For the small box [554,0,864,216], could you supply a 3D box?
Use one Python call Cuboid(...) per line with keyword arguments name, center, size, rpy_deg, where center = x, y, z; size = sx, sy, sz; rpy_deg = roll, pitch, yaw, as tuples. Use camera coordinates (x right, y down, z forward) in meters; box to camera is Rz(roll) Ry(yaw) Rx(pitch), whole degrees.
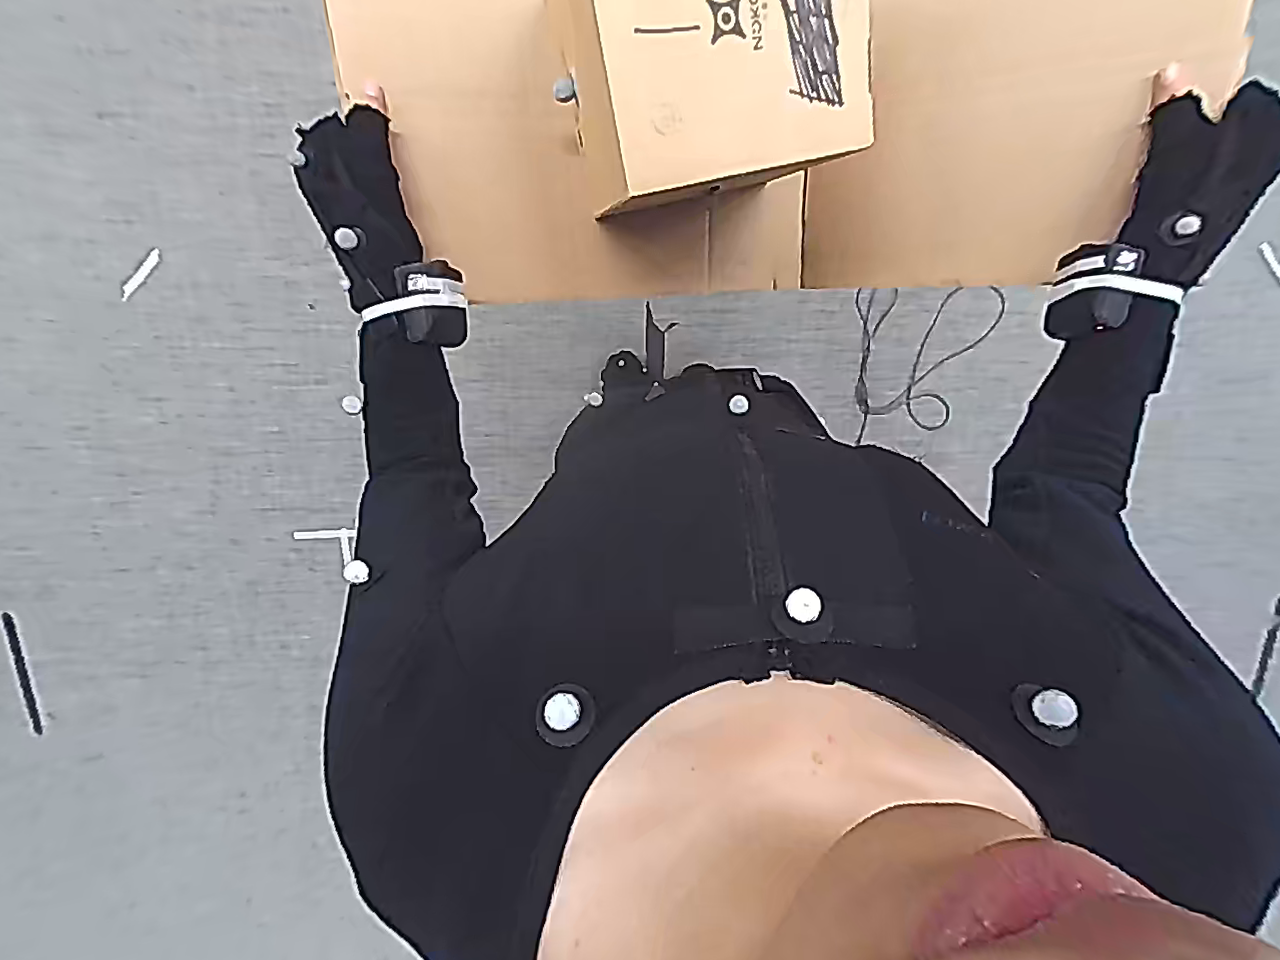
Cuboid(name="small box", center=(0.043, -0.308, 0.408), size=(0.179, 0.176, 0.168), rpy_deg=(-15, 113, -7))
